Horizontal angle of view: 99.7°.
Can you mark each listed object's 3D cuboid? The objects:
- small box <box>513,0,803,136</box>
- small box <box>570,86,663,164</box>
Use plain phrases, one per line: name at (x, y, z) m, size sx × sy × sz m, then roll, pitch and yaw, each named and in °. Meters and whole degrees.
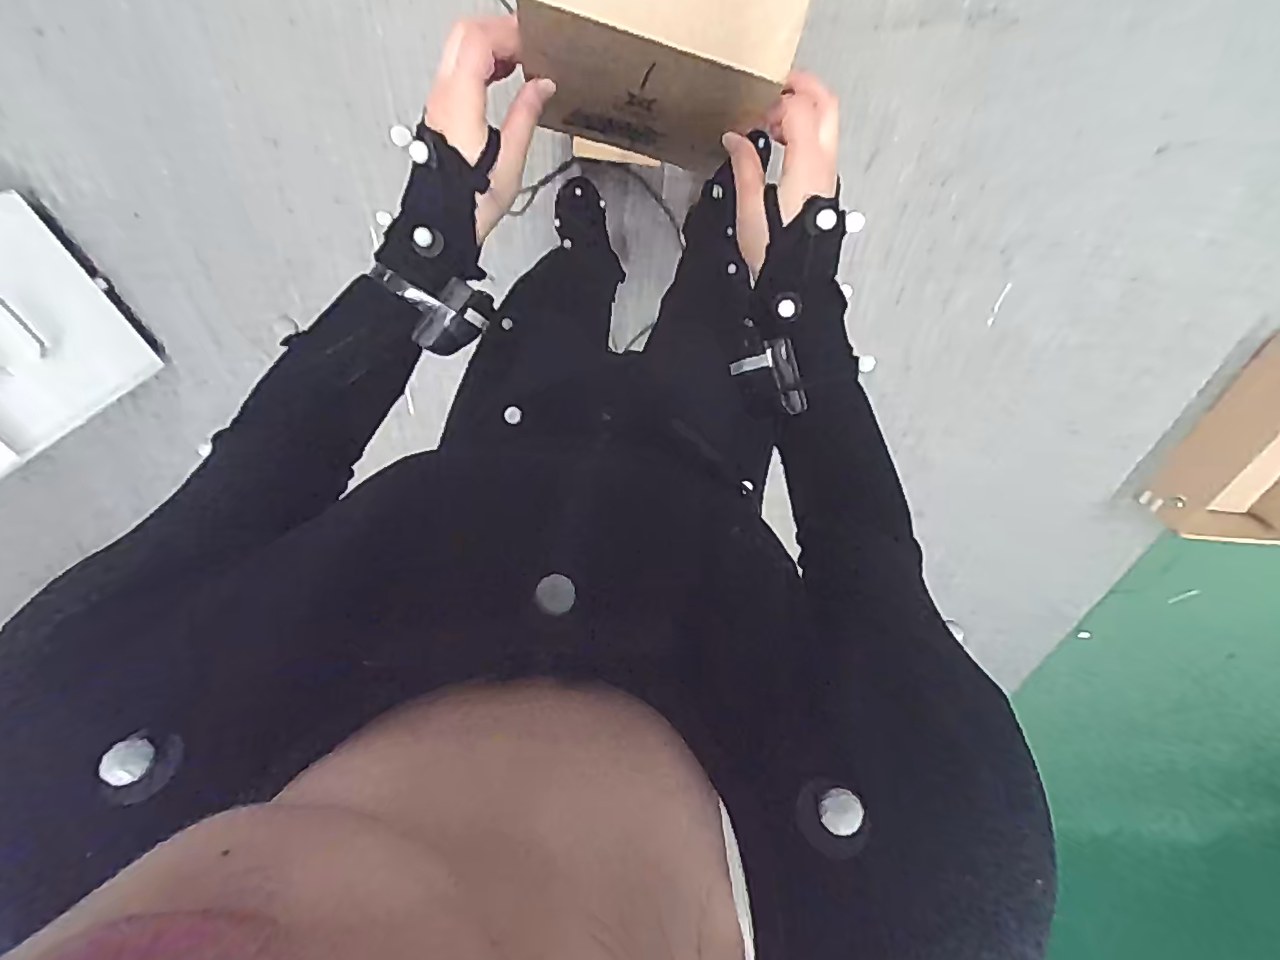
small box at (0.021, -0.355, 0.350) m, size 0.168 × 0.179 × 0.176 m, roll 11°, pitch 112°, yaw -10°
small box at (-0.040, -0.713, 1.014) m, size 0.168 × 0.176 × 0.179 m, roll 4°, pitch 126°, yaw -7°
